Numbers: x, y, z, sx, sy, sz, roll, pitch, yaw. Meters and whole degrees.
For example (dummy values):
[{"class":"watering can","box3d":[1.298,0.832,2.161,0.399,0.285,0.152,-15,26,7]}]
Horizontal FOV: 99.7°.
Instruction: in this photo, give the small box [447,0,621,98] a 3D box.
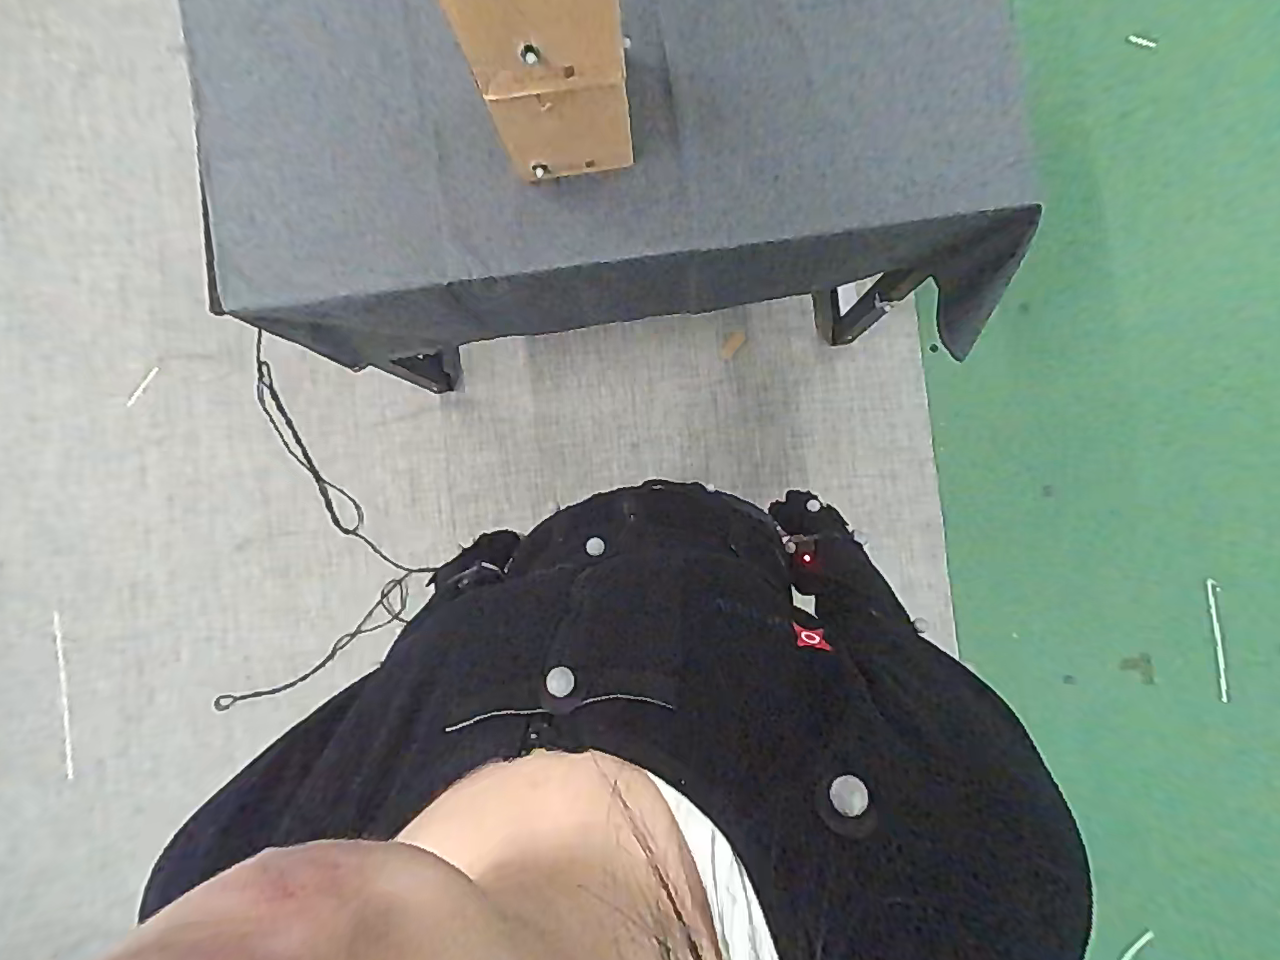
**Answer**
[{"class":"small box","box3d":[-0.113,-0.540,0.550,0.168,0.176,0.179,-7,88,2]}]

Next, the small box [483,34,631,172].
[{"class":"small box","box3d":[-0.106,-0.535,0.712,0.168,0.176,0.179,-7,87,3]}]
